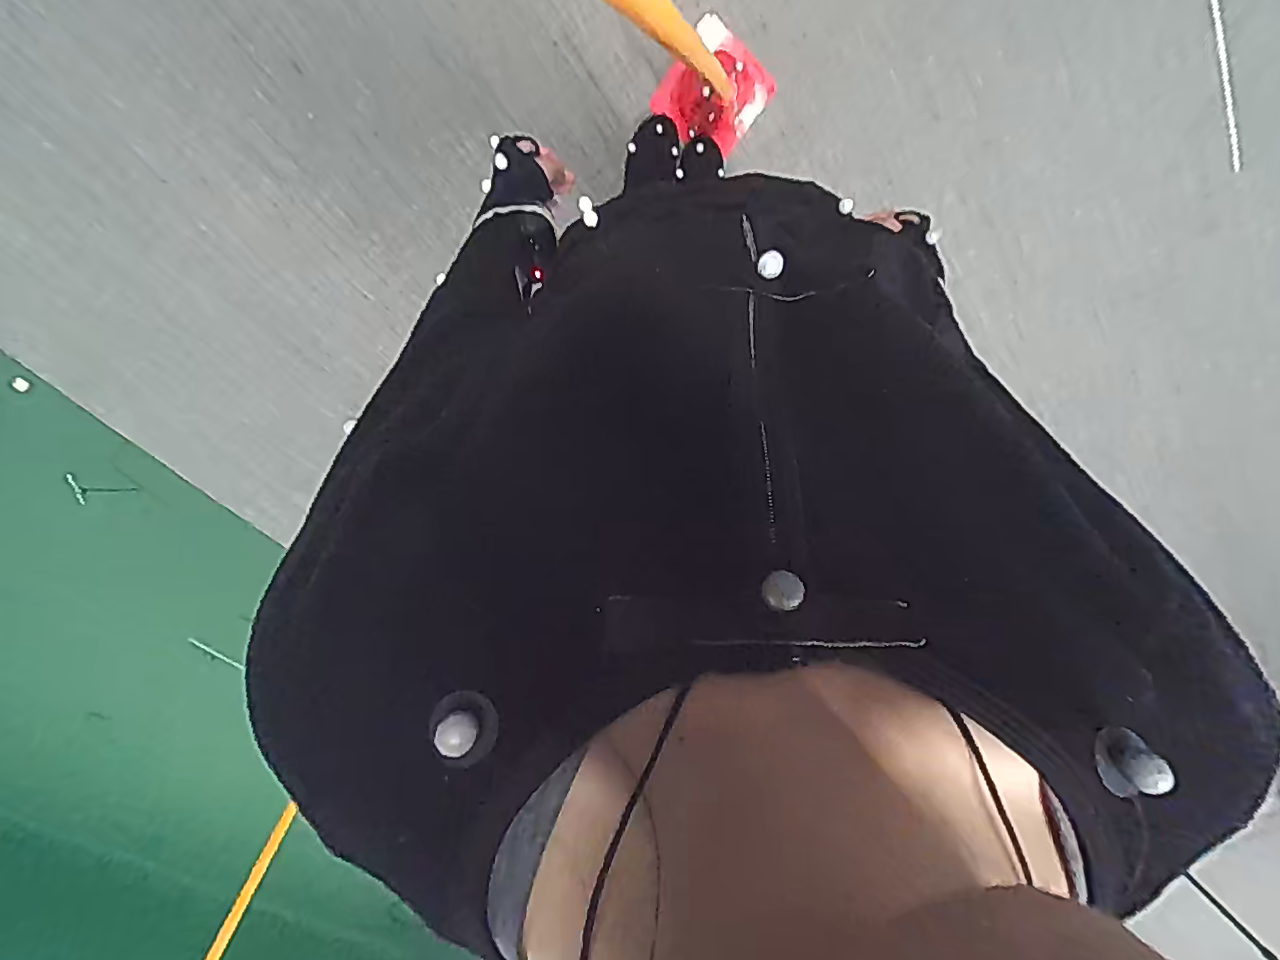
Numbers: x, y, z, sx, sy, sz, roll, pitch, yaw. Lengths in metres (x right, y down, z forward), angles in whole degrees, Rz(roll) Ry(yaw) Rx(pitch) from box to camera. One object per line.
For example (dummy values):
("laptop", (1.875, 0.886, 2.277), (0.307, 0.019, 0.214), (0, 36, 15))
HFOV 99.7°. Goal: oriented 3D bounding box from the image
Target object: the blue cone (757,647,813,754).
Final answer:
("blue cone", (0.577, 0.822, 2.011), (0.193, 0.380, 0.192), (9, 123, -7))
